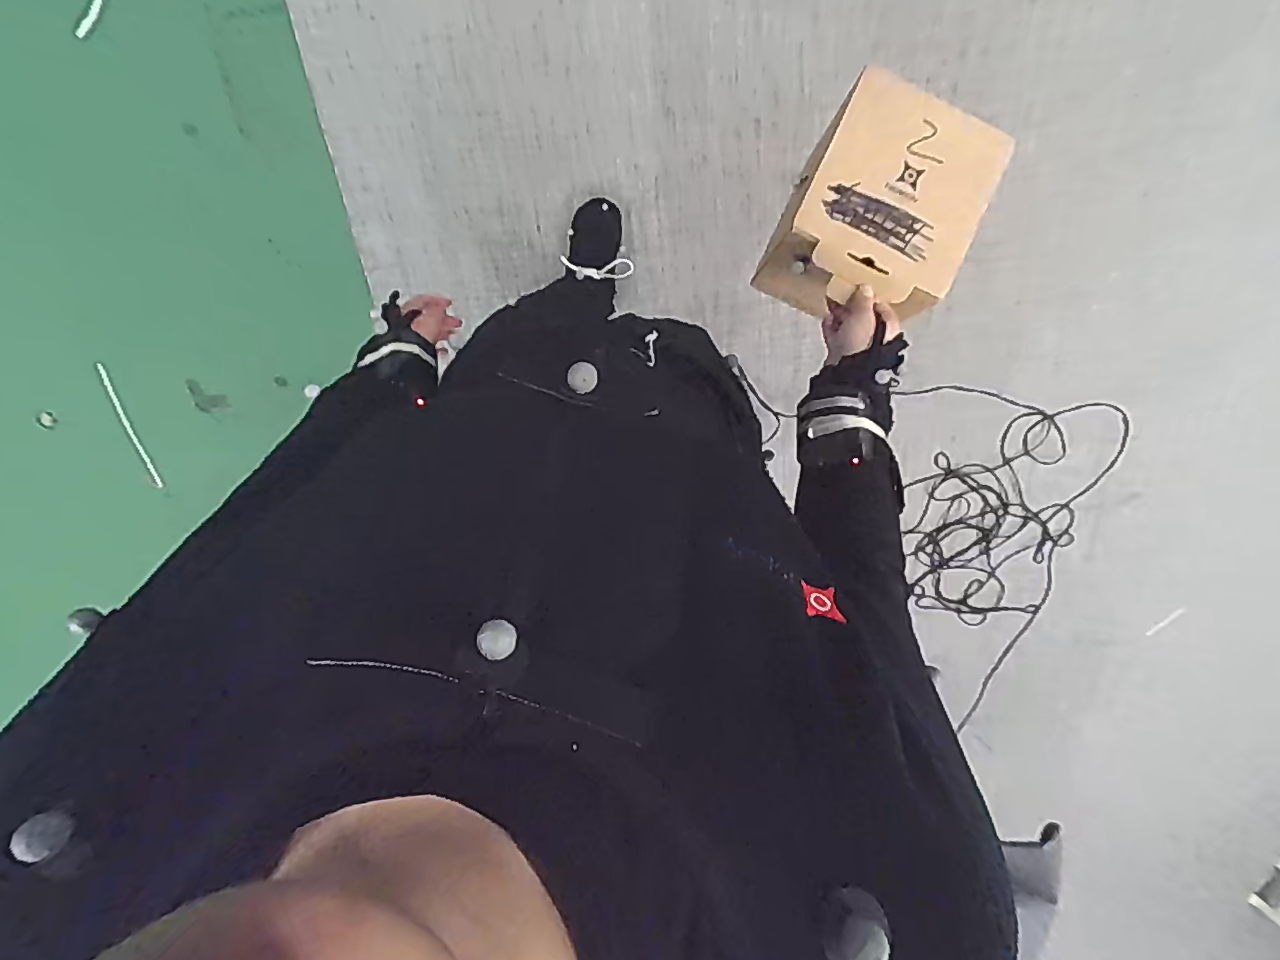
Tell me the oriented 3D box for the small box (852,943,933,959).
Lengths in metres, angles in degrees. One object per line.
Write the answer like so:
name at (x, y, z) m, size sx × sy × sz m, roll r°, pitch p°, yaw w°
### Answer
small box at (0.552, 1.090, 1.097) m, size 0.168 × 0.176 × 0.179 m, roll -20°, pitch 115°, yaw 6°
